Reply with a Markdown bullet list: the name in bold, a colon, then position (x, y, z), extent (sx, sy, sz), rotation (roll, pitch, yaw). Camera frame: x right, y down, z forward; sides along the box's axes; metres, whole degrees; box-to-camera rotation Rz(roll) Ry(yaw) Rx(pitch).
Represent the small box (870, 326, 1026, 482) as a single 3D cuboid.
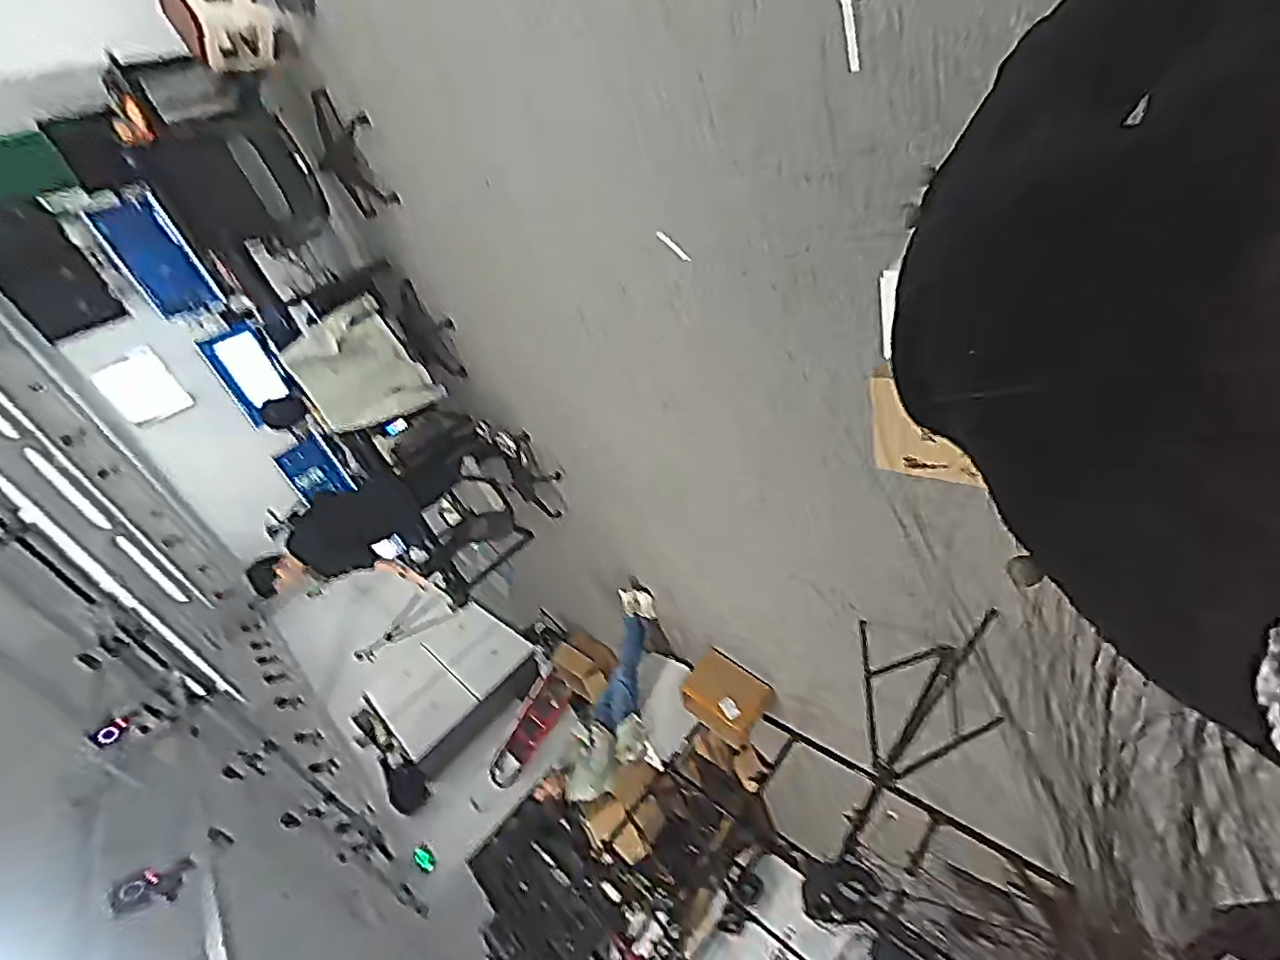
- **small box**: position (0.472, -0.126, 0.833), extent (0.168, 0.176, 0.179), rotation (16, 136, 43)
